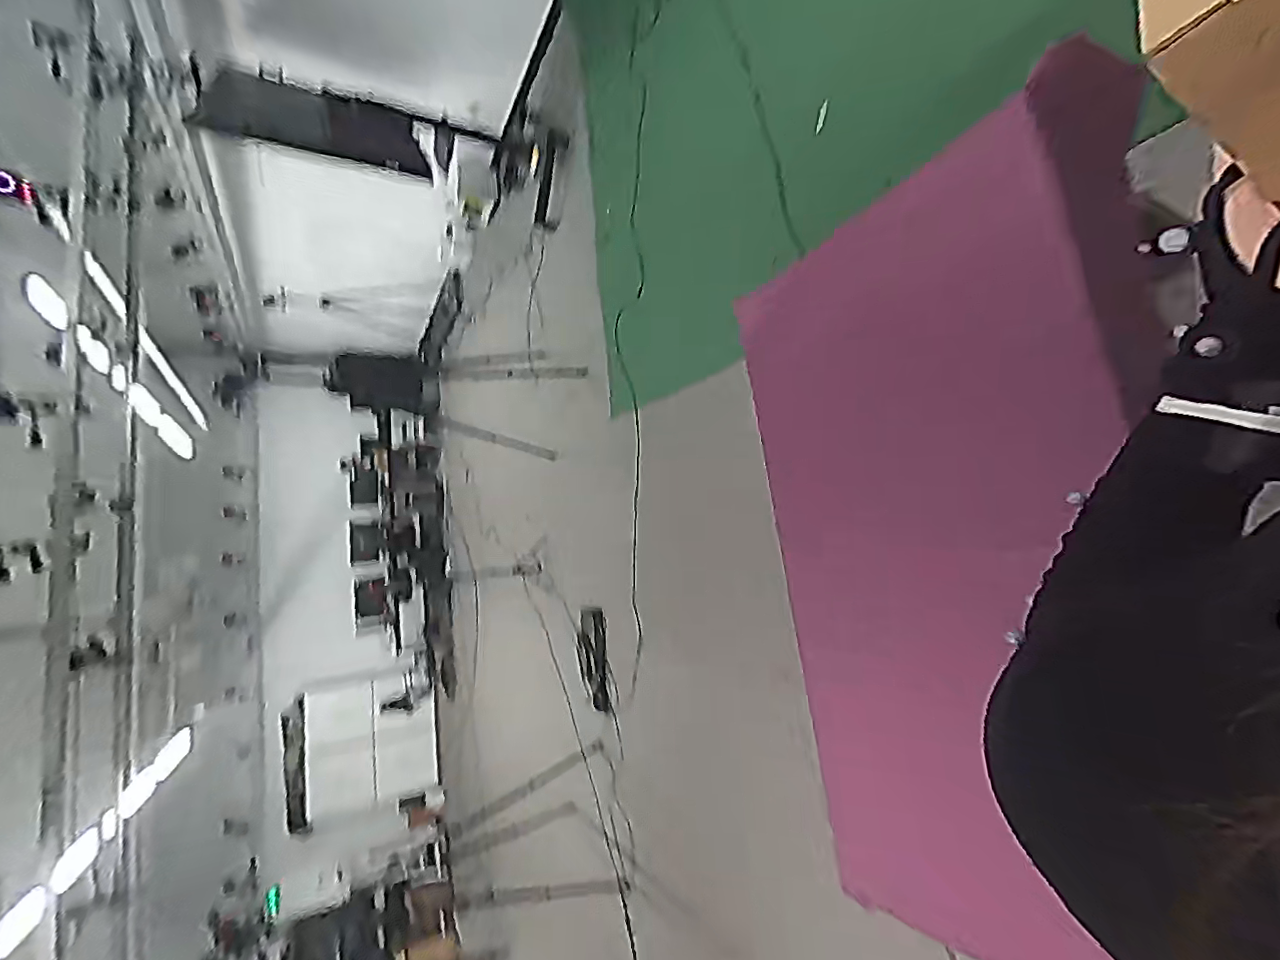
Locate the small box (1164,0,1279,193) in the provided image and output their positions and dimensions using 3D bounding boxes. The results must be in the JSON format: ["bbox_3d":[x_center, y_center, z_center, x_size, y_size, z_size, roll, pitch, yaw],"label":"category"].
[{"bbox_3d":[0.379,-0.268,0.243,0.168,0.179,0.176,-21,50,64],"label":"small box"}]
